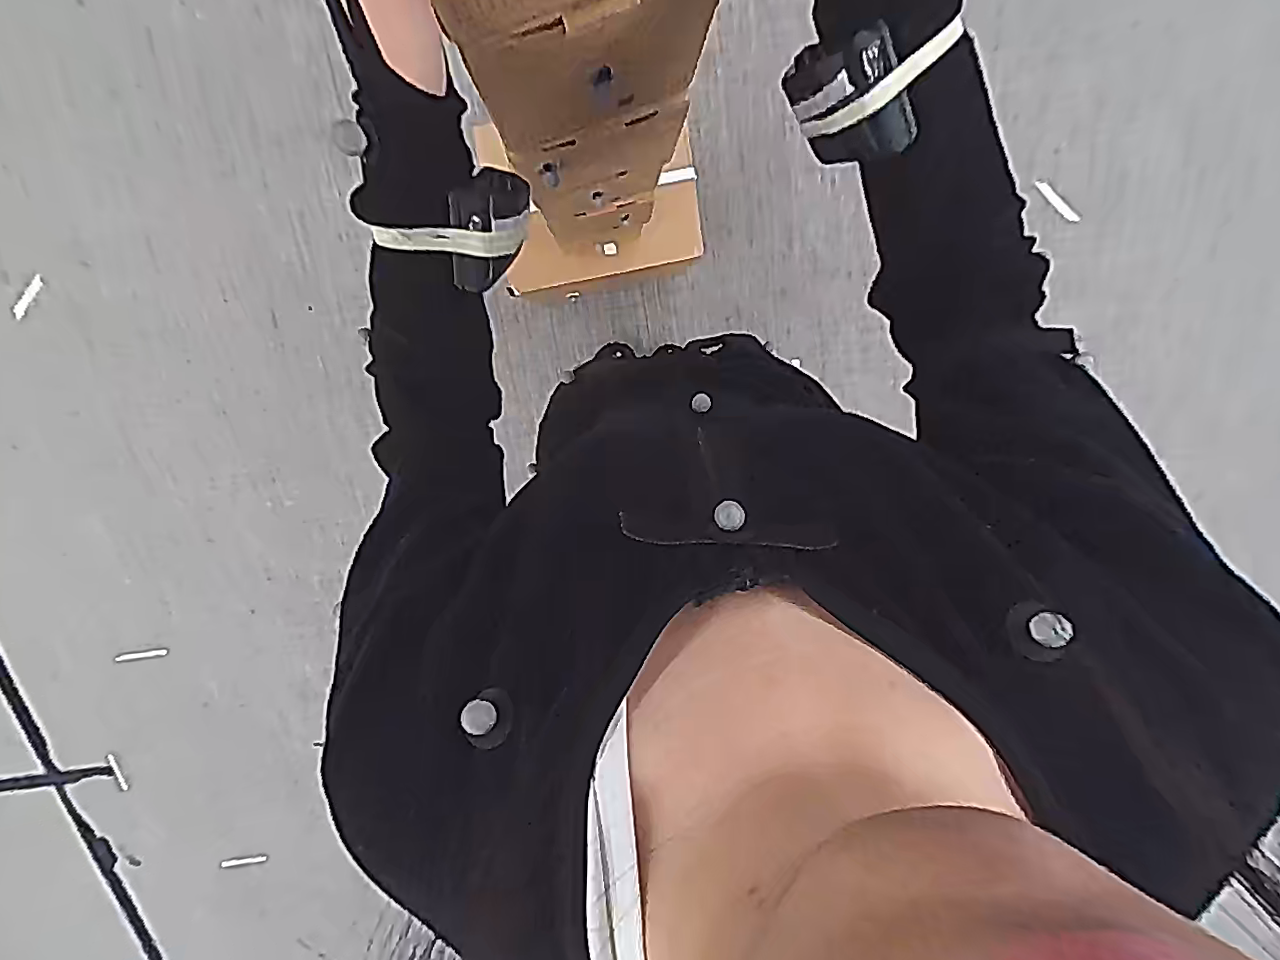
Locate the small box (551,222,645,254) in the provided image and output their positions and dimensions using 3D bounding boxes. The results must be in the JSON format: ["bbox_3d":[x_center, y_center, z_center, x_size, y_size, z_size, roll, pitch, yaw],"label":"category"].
[{"bbox_3d":[-0.090,-0.531,0.990,0.168,0.176,0.179,-11,106,1],"label":"small box"}]

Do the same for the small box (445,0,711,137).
[{"bbox_3d":[-0.054,-0.360,0.359,0.168,0.176,0.179,-21,106,1],"label":"small box"}]

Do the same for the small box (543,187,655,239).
[{"bbox_3d":[-0.077,-0.485,0.835,0.168,0.176,0.179,-13,104,0],"label":"small box"}]

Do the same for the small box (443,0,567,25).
[{"bbox_3d":[-0.045,-0.321,0.201,0.168,0.176,0.179,-20,105,2],"label":"small box"}]

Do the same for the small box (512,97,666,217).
[{"bbox_3d":[-0.073,-0.447,0.675,0.168,0.176,0.179,-17,105,0],"label":"small box"}]
